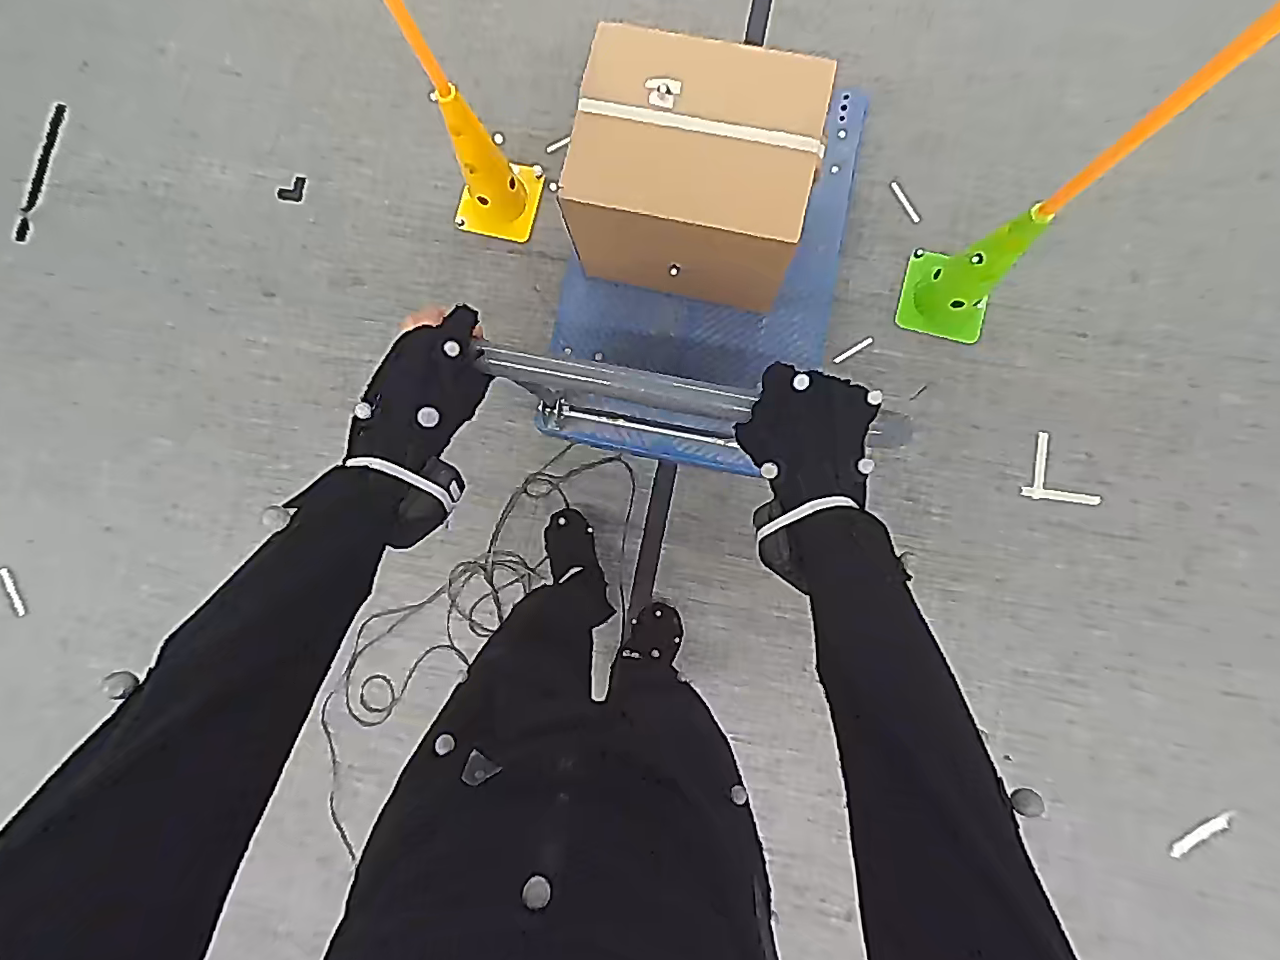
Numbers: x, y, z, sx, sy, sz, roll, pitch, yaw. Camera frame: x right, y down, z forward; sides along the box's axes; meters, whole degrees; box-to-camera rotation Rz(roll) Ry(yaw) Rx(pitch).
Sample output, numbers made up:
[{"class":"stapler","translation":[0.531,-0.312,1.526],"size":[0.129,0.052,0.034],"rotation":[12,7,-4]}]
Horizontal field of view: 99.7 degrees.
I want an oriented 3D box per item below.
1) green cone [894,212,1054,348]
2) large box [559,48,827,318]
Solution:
[{"class":"green cone","translation":[0.726,-0.447,1.147],"size":[0.202,0.368,0.200],"rotation":[15,87,3]},{"class":"large box","translation":[0.100,-0.544,1.051],"size":[0.408,0.320,0.320],"rotation":[13,87,5]}]
